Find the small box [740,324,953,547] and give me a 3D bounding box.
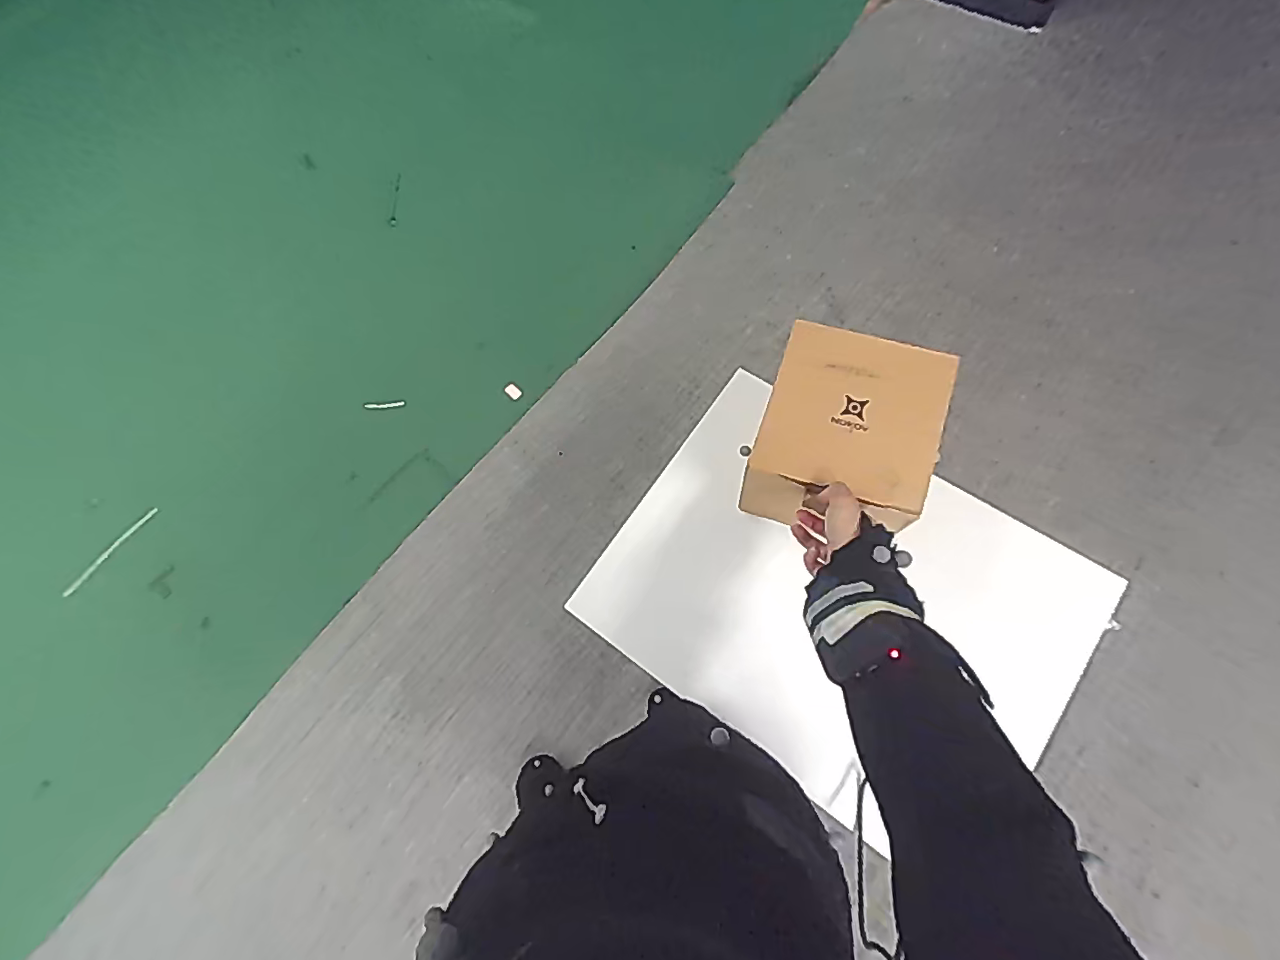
[{"bbox_3d":[0.214,-0.038,0.602,0.168,0.176,0.179,17,75,11],"label":"small box"}]
